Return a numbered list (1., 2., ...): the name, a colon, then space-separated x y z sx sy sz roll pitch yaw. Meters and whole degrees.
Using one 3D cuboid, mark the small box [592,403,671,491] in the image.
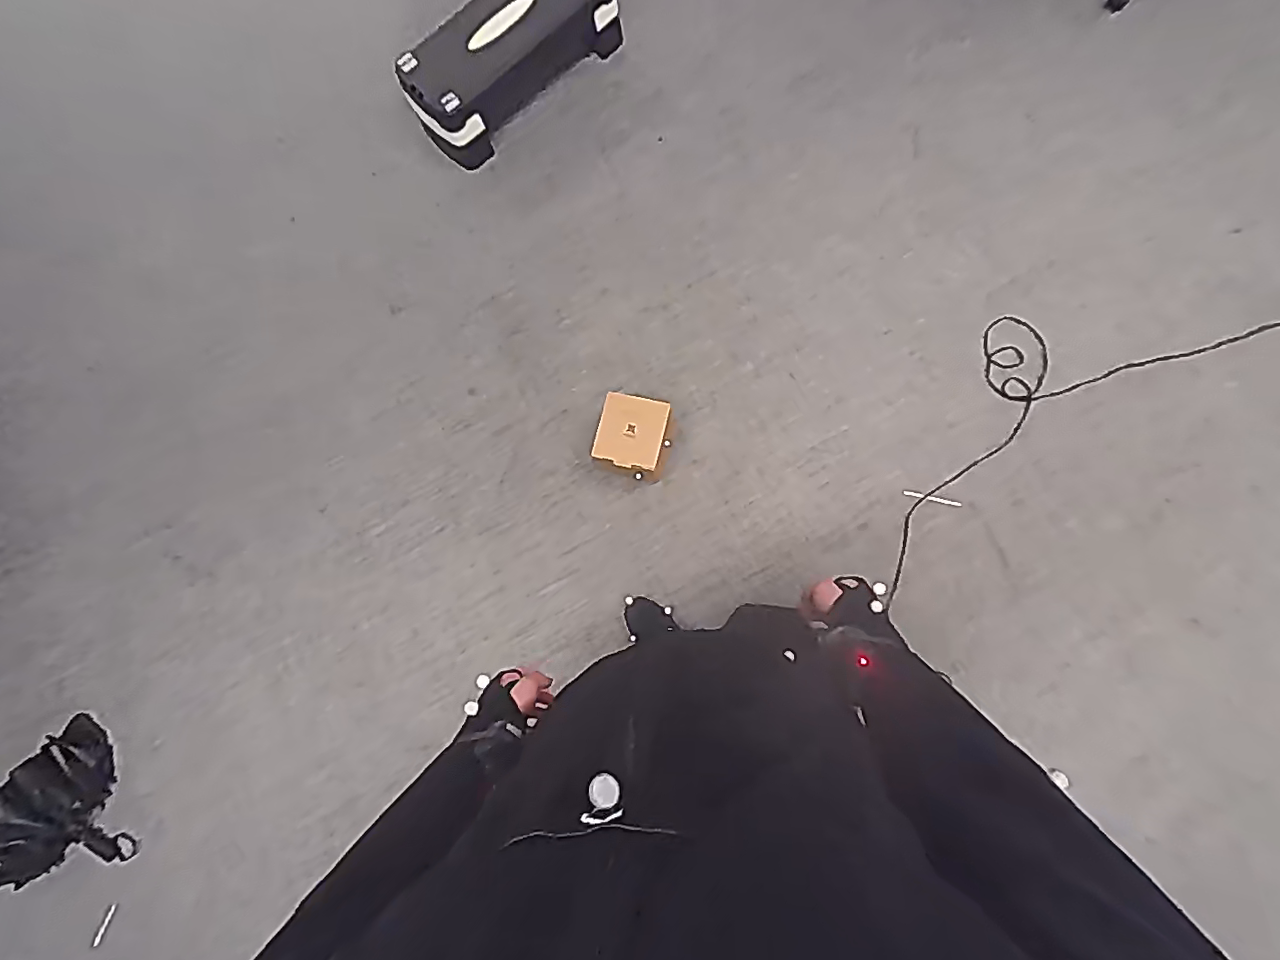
1. small box: -0.014 -0.079 1.422 0.168 0.176 0.179 12 79 8
